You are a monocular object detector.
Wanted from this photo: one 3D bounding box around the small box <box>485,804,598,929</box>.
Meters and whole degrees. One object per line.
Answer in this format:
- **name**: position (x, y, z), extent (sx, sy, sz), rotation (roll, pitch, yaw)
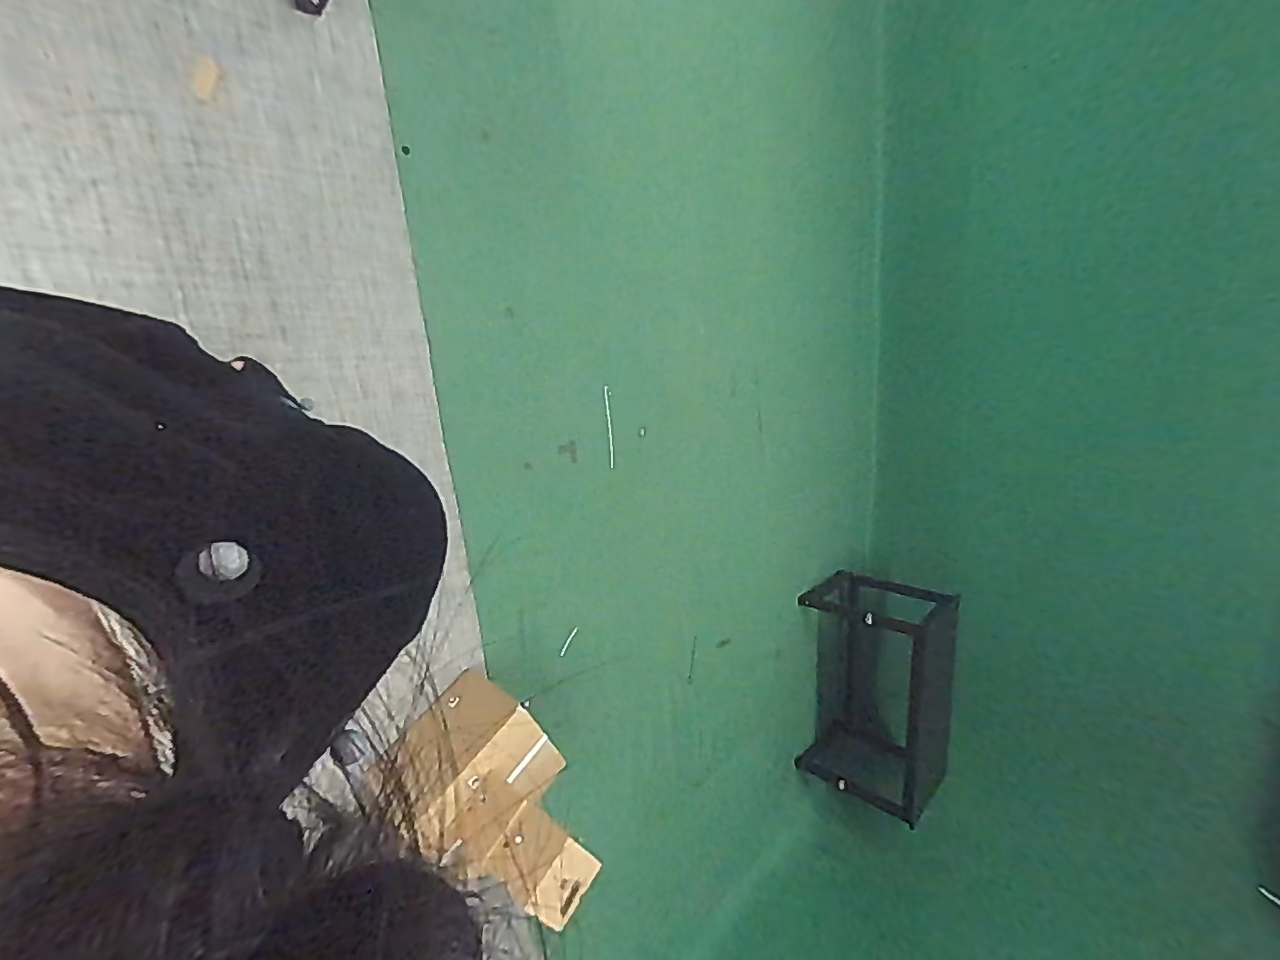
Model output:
- **small box**: position (-0.241, 0.937, 1.323), extent (0.168, 0.176, 0.179), rotation (-49, 128, -30)
